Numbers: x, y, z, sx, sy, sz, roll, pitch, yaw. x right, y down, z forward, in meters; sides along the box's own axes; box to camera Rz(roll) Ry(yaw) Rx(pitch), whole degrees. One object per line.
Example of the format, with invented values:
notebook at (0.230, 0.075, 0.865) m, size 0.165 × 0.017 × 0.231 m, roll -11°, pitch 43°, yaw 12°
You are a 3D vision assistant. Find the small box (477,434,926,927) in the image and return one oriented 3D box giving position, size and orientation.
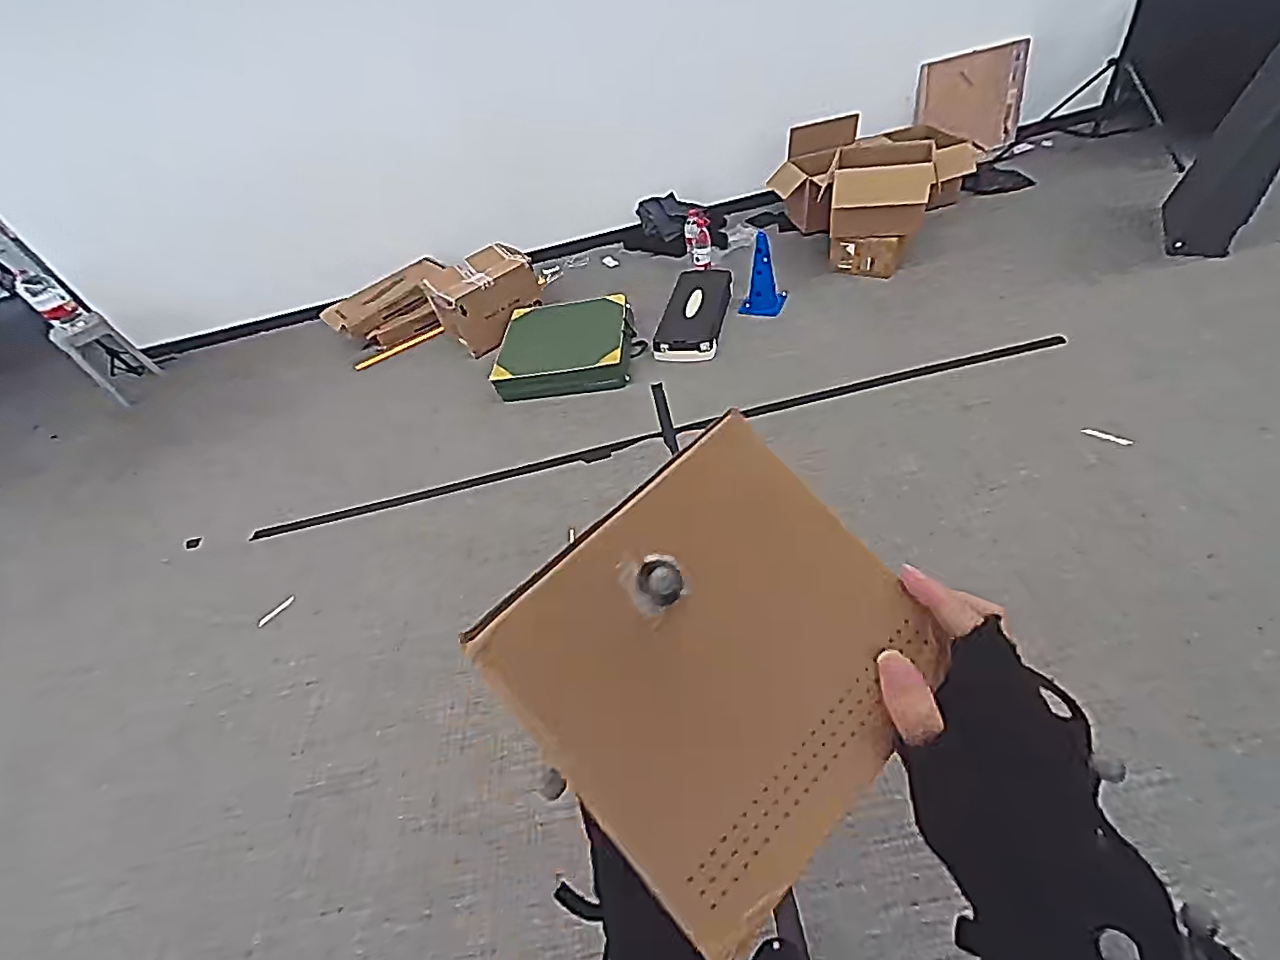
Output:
small box at (0.029, 0.109, 0.334) m, size 0.179 × 0.168 × 0.176 m, roll -39°, pitch 83°, yaw -20°
